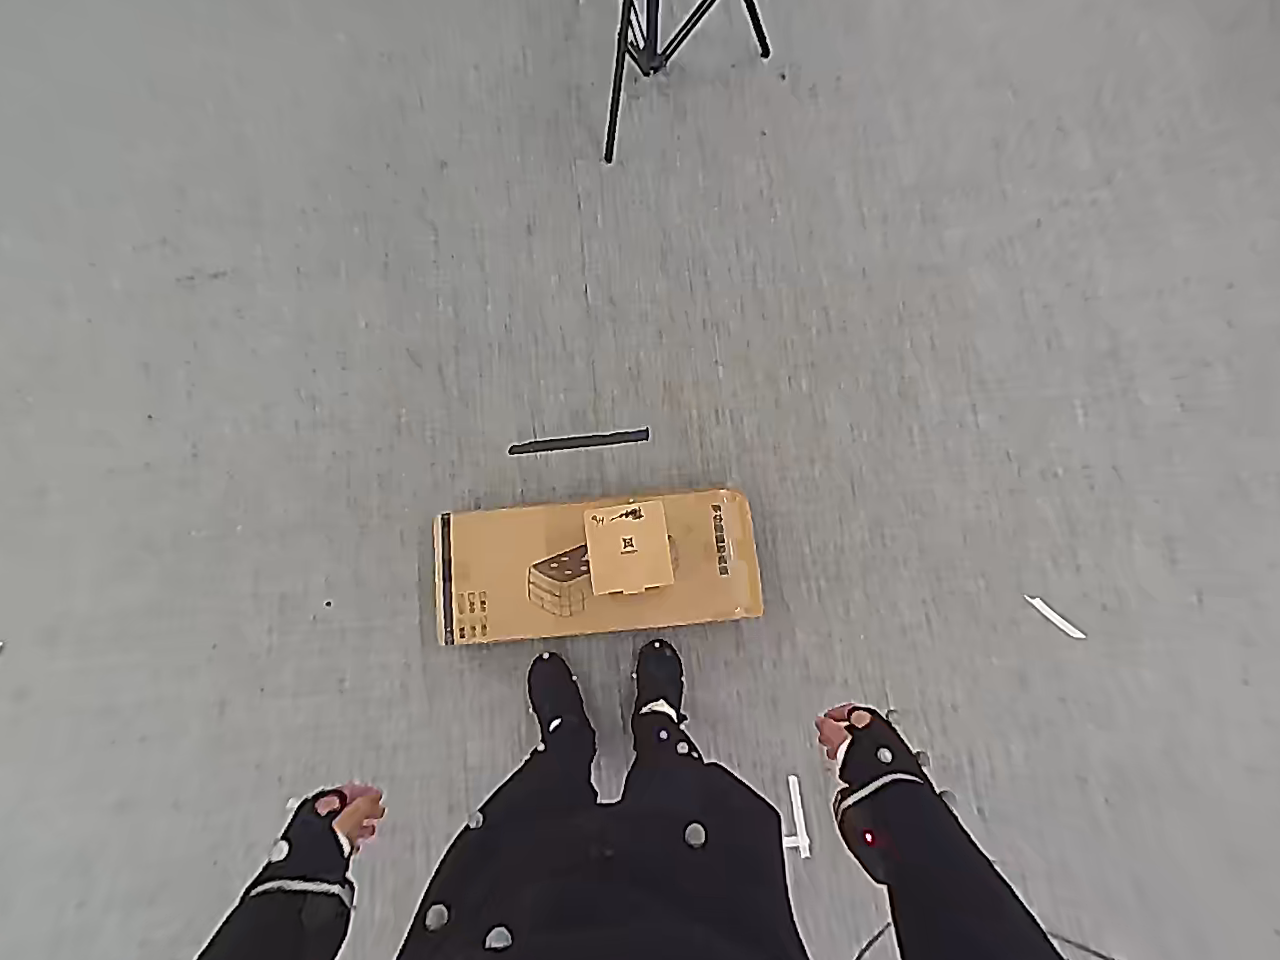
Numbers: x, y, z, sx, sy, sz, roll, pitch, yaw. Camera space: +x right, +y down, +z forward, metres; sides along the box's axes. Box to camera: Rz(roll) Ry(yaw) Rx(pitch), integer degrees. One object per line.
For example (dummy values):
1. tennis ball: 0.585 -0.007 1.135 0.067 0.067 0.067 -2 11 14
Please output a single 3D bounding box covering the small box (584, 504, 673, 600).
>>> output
1. small box: -0.024 0.155 1.166 0.168 0.176 0.179 -7 80 -2
